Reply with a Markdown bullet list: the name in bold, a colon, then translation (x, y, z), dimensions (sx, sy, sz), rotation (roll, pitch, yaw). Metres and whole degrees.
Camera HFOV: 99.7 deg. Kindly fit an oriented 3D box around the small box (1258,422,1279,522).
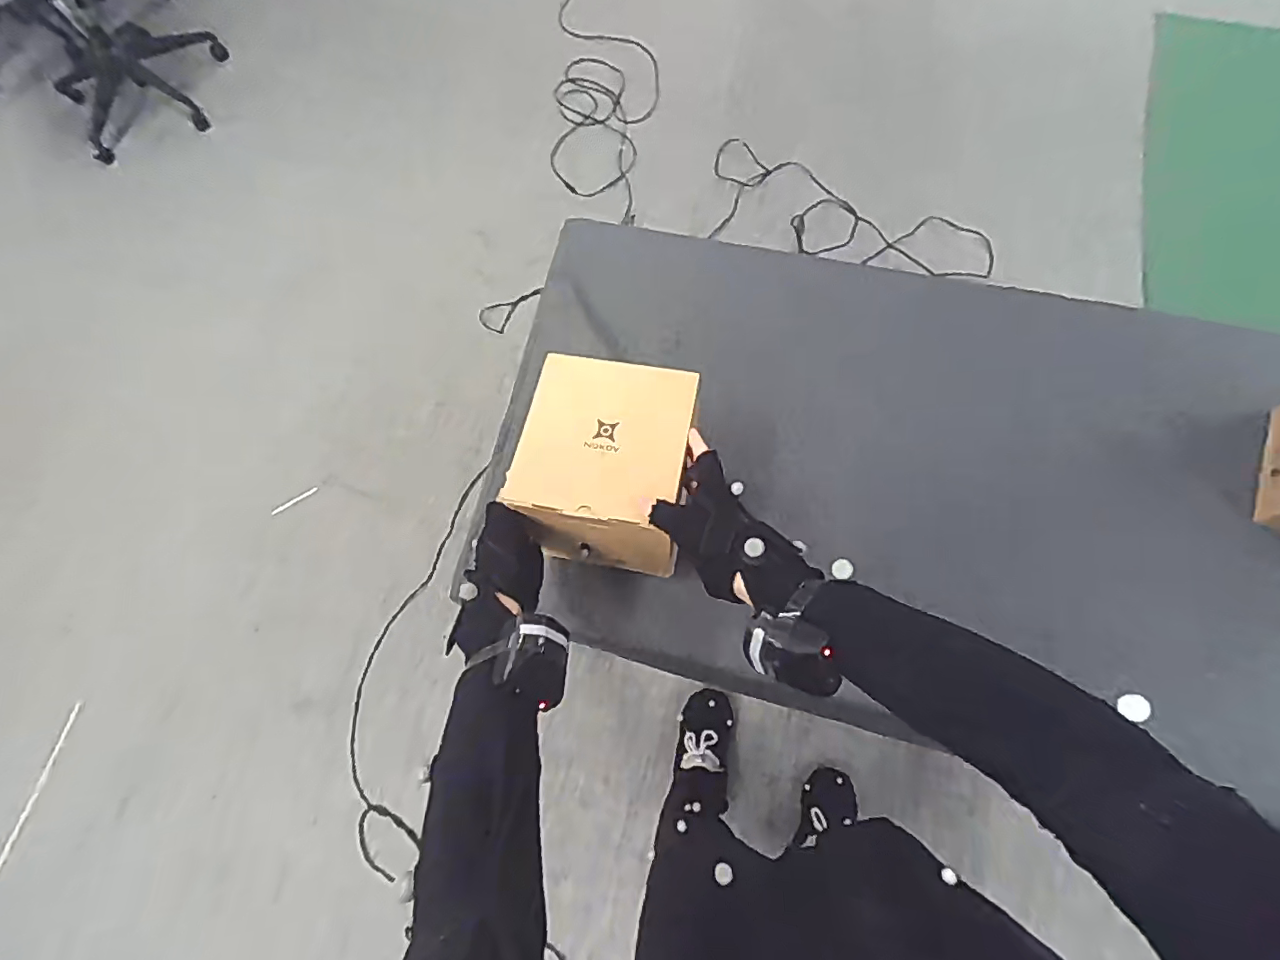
- **small box**: translation (0.832, -0.017, 0.568), dimensions (0.179, 0.176, 0.168), rotation (24, 76, 11)
